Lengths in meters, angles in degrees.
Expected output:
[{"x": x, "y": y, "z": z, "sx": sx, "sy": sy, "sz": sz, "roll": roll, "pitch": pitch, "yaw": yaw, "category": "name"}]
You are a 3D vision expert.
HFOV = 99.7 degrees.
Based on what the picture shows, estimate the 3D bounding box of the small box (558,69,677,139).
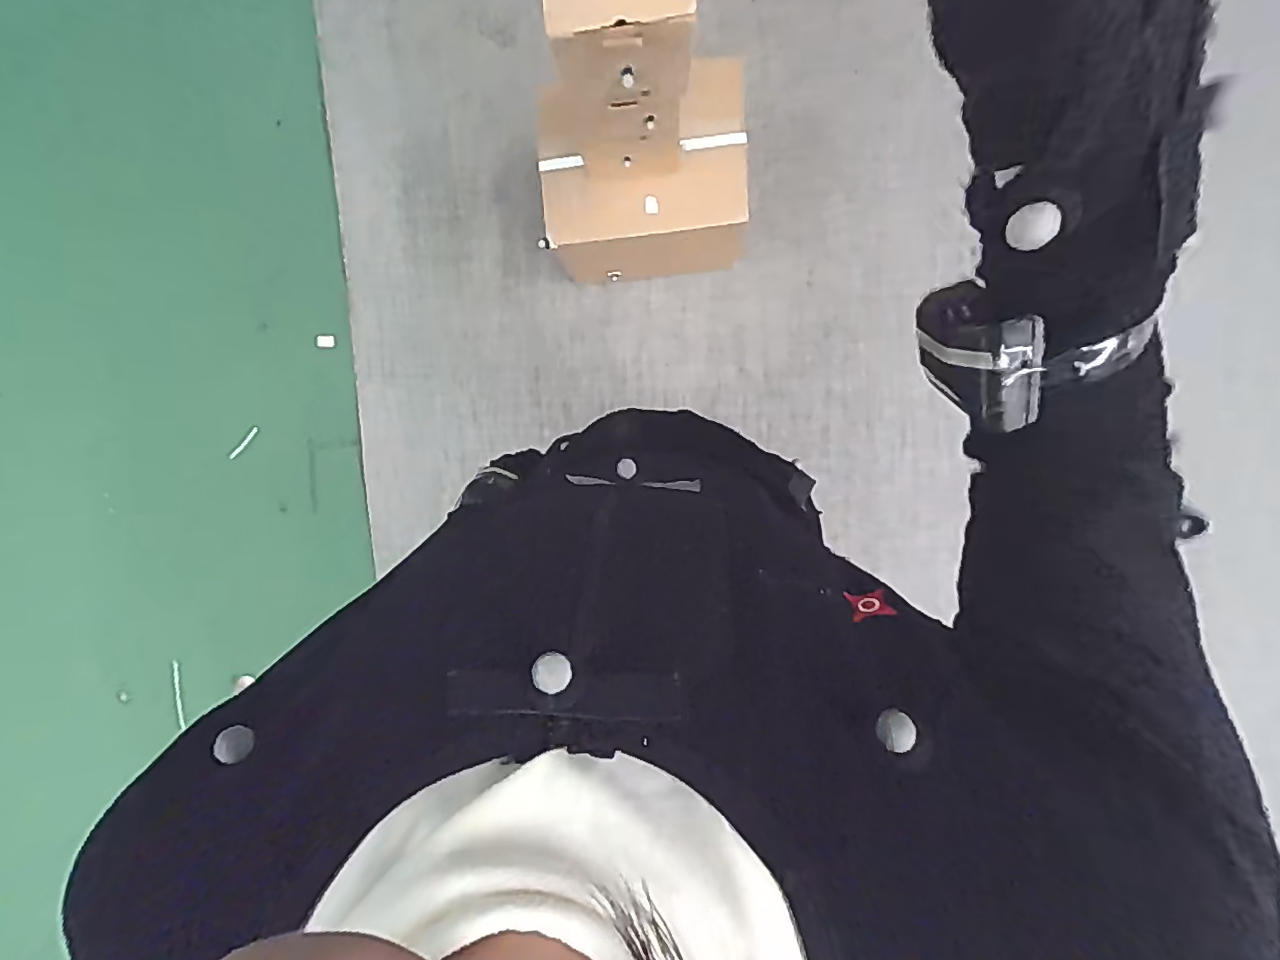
[{"x": -0.031, "y": -0.635, "z": 0.805, "sx": 0.168, "sy": 0.176, "sz": 0.179, "roll": -5, "pitch": 101, "yaw": 4, "category": "small box"}]

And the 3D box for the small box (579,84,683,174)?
[{"x": -0.019, "y": -0.669, "z": 0.962, "sx": 0.179, "sy": 0.176, "sz": 0.168, "roll": -6, "pitch": 102, "yaw": 5, "category": "small box"}]

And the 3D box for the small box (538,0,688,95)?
[{"x": -0.028, "y": -0.594, "z": 0.646, "sx": 0.168, "sy": 0.176, "sz": 0.179, "roll": -4, "pitch": 103, "yaw": 5, "category": "small box"}]
